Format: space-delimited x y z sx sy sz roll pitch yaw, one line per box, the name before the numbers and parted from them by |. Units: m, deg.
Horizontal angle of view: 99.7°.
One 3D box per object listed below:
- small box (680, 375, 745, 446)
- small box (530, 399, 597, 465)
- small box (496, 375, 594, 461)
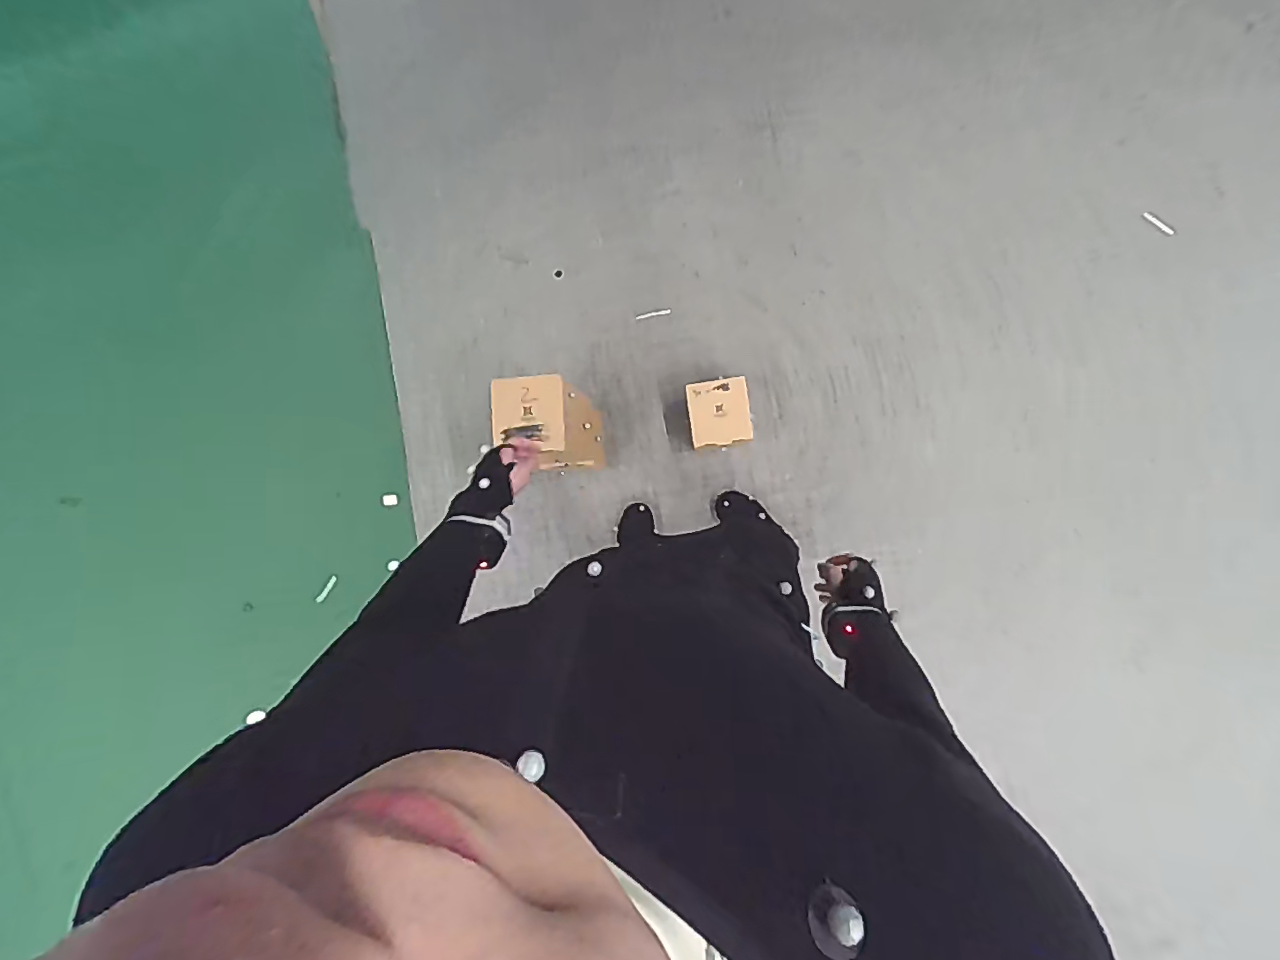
small box | 0.207 -0.191 1.547 0.168 0.176 0.179 -6 89 6
small box | -0.223 -0.135 1.597 0.168 0.176 0.179 -4 87 6
small box | -0.246 -0.157 1.444 0.179 0.176 0.168 28 94 7
